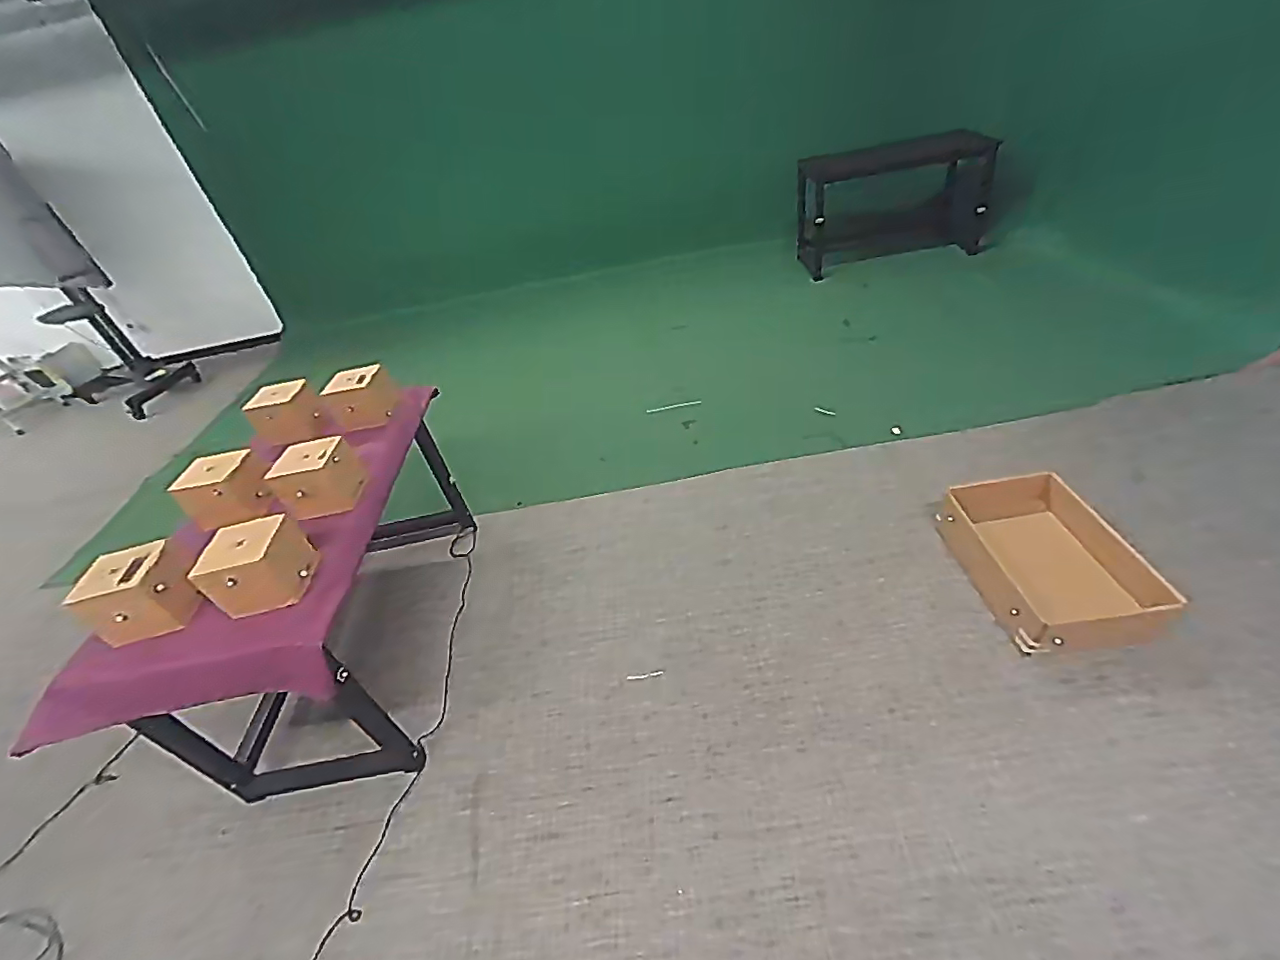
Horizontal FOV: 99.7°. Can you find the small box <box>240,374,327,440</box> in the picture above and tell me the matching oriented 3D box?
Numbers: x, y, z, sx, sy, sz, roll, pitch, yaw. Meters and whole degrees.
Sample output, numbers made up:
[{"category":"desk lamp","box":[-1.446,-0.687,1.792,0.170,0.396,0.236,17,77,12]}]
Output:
[{"category":"small box","box":[-1.303,-0.264,1.989,0.179,0.176,0.168,-9,41,2]}]

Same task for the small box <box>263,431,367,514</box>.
[{"category":"small box","box":[-0.956,-0.018,1.609,0.179,0.176,0.168,-11,40,4]}]

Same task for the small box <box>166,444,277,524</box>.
[{"category":"small box","box":[-1.265,0.017,1.651,0.179,0.176,0.168,-10,39,1]}]

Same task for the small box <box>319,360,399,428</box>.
[{"category":"small box","box":[-1.016,-0.313,1.973,0.179,0.176,0.168,-9,40,6]}]
